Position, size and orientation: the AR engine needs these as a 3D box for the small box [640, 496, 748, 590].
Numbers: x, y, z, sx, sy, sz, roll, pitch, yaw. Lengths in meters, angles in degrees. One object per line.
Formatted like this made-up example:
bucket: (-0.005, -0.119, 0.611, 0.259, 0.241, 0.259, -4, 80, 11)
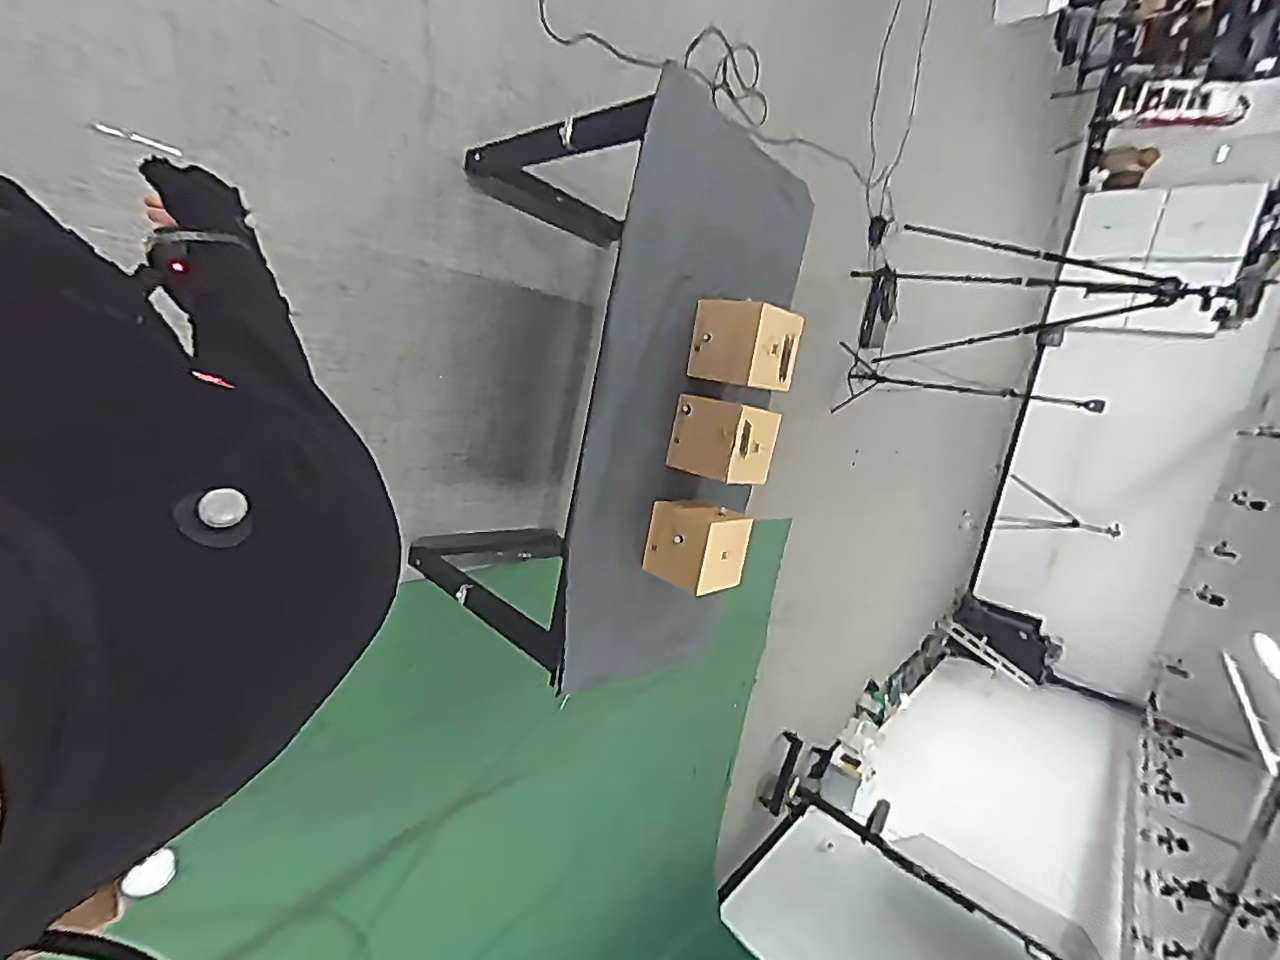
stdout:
small box: (0.122, 0.138, 1.259, 0.179, 0.176, 0.168, -1, 106, -49)
